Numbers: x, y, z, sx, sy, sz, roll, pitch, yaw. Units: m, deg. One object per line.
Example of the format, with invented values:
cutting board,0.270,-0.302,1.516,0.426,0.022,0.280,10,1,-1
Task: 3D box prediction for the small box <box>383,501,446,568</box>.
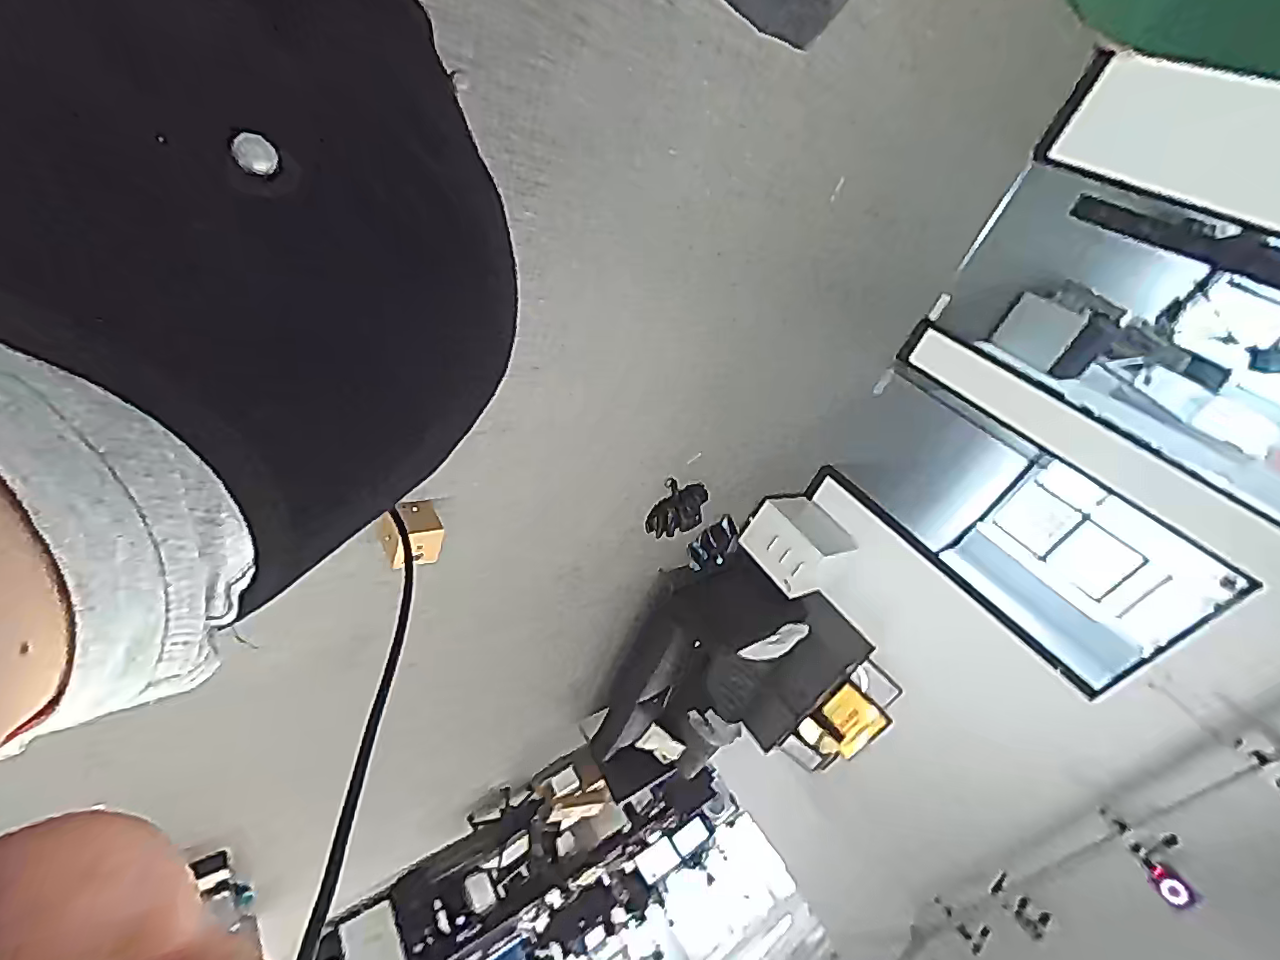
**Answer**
small box,-0.853,0.203,2.035,0.168,0.176,0.179,-7,133,-42
